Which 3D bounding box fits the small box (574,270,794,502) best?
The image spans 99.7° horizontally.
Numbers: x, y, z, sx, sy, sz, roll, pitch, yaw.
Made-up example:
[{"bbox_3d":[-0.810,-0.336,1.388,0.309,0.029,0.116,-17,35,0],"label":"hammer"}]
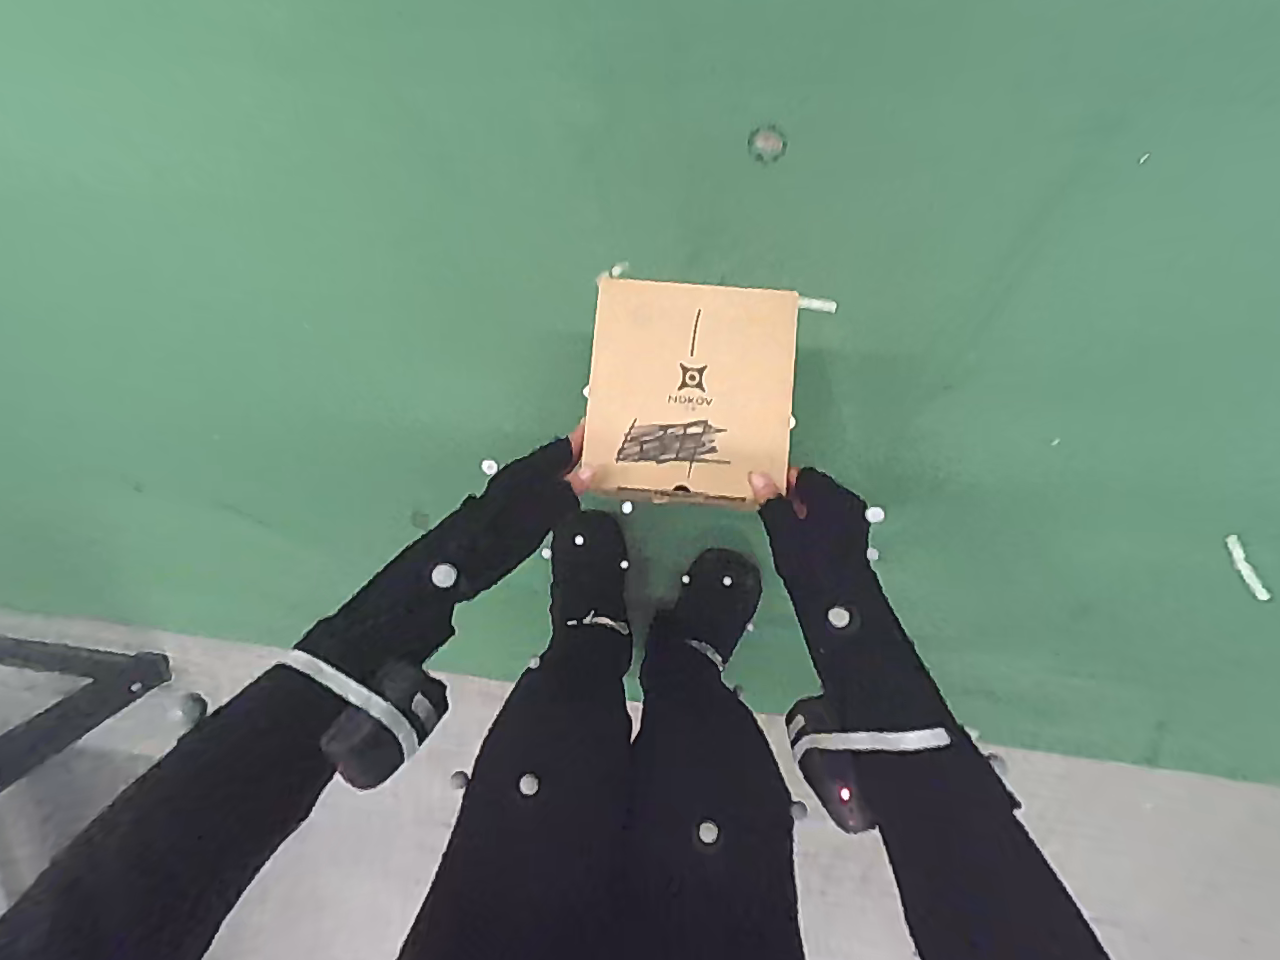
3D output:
[{"bbox_3d":[0.039,-0.073,0.510,0.168,0.176,0.179,4,86,2],"label":"small box"}]
